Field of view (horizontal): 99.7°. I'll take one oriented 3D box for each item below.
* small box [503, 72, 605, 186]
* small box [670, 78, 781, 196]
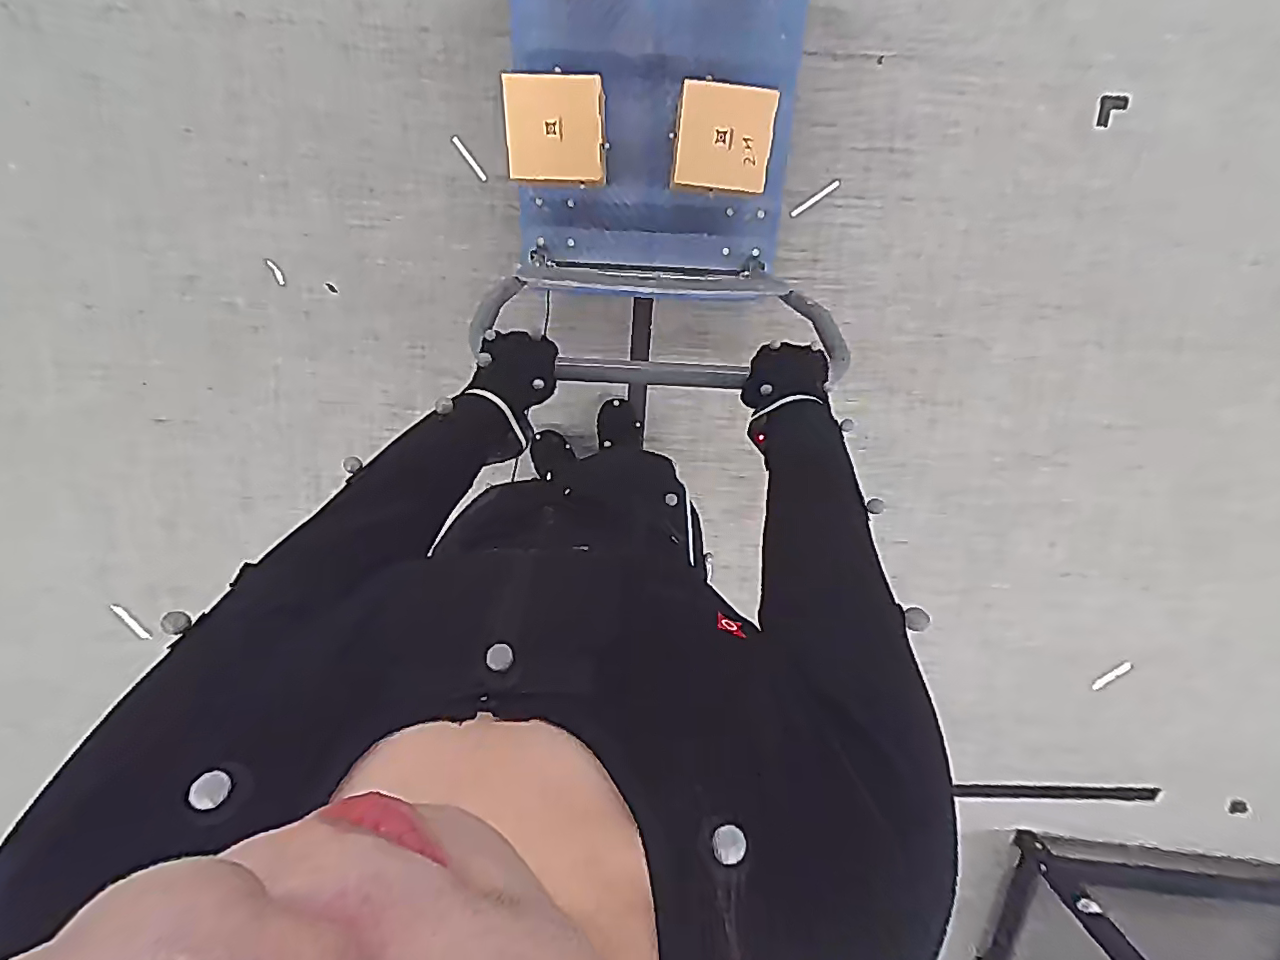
[{"bbox_3d":[-0.159,-0.676,1.057,0.179,0.176,0.168,-1,115,-2],"label":"small box"},{"bbox_3d":[0.157,-0.664,1.066,0.179,0.176,0.168,5,115,-3],"label":"small box"}]
